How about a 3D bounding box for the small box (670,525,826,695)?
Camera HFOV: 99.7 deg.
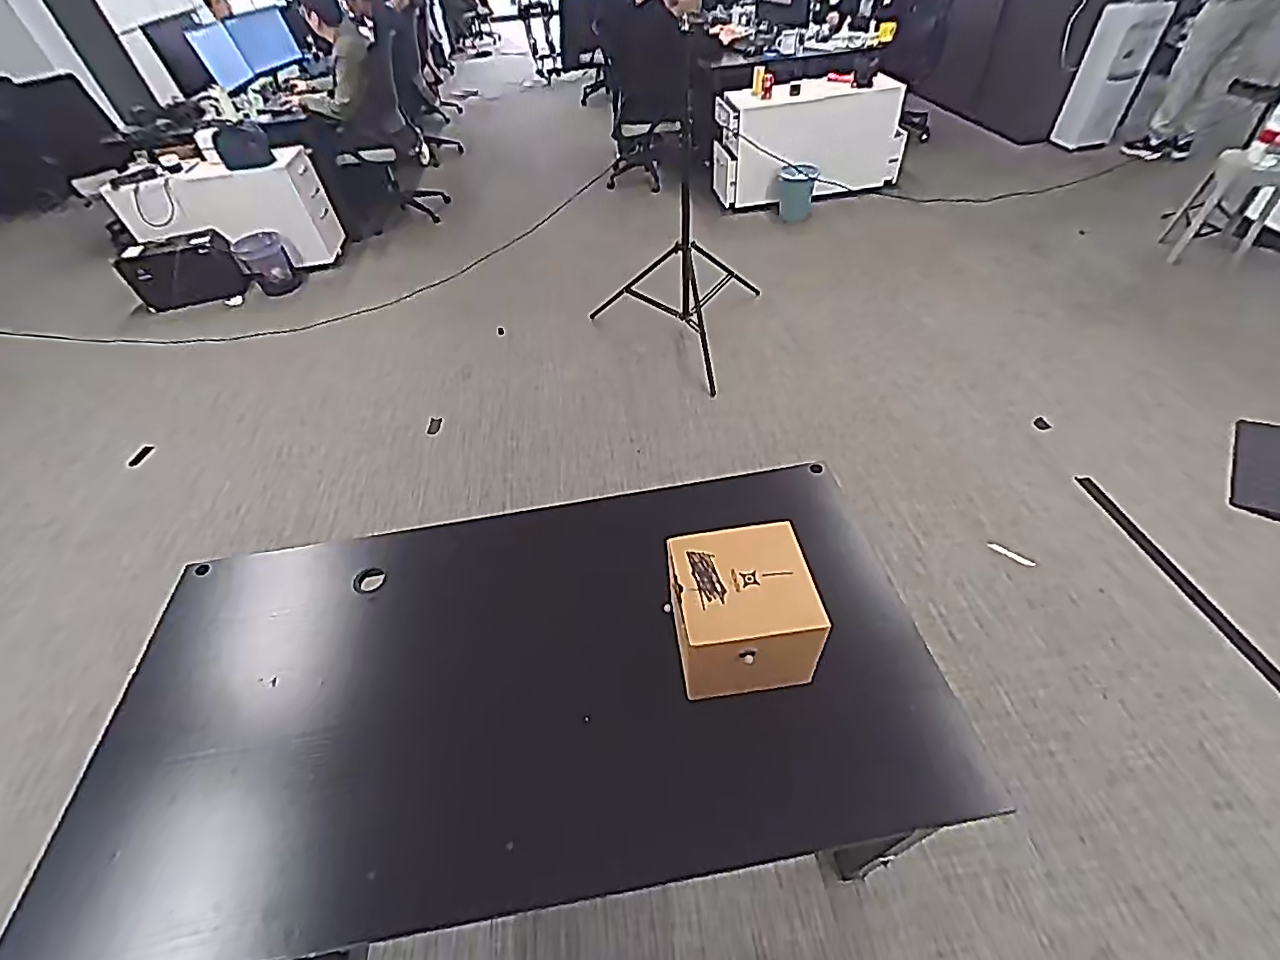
[{"bbox_3d":[0.142,0.189,0.770,0.179,0.176,0.168,-7,47,-1],"label":"small box"}]
